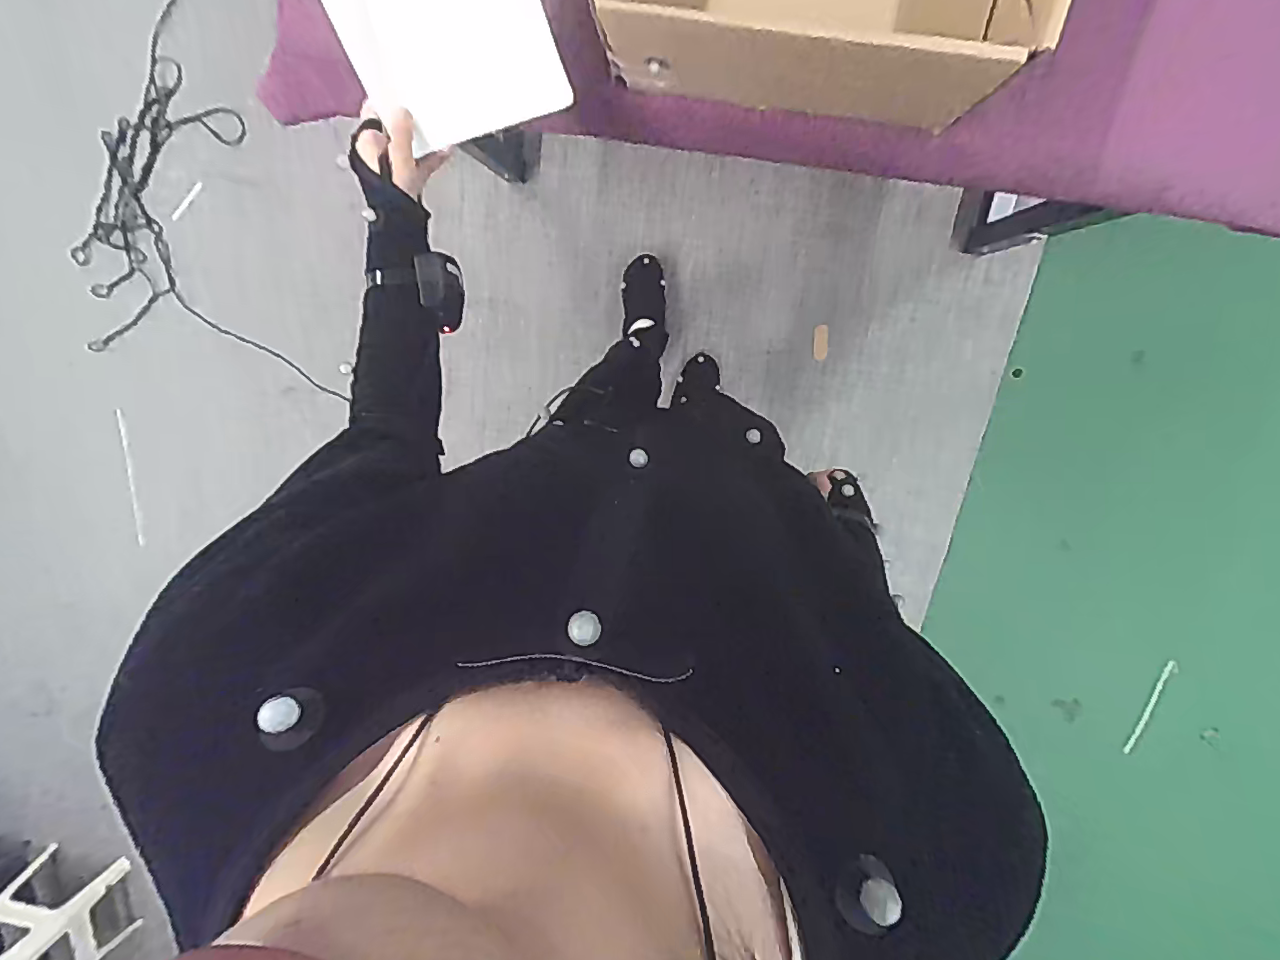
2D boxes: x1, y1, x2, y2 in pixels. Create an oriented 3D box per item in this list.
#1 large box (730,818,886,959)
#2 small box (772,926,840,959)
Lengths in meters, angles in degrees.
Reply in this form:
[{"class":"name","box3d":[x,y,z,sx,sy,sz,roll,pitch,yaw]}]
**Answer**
[{"class":"large box","box3d":[0.500,1.296,1.667,0.408,0.320,0.320,-5,105,7]},{"class":"small box","box3d":[0.443,1.331,1.427,0.168,0.176,0.179,1,105,7]}]
